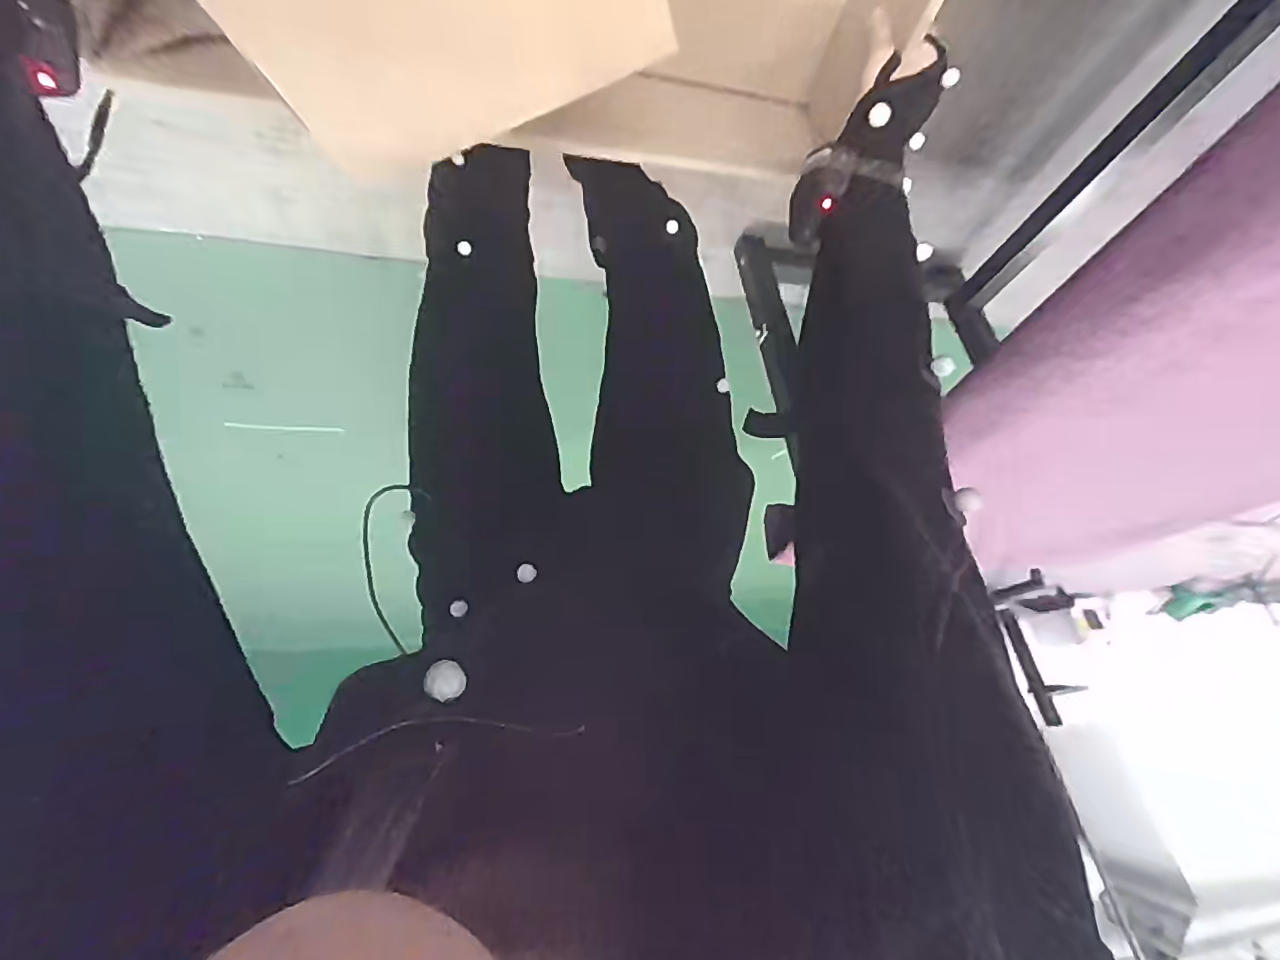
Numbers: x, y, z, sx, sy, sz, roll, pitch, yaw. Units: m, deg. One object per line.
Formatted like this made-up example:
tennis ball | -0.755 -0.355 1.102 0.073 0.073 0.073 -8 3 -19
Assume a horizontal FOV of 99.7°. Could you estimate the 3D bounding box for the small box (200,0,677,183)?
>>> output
small box | -0.098 -0.276 0.229 0.179 0.176 0.168 -15 148 12
